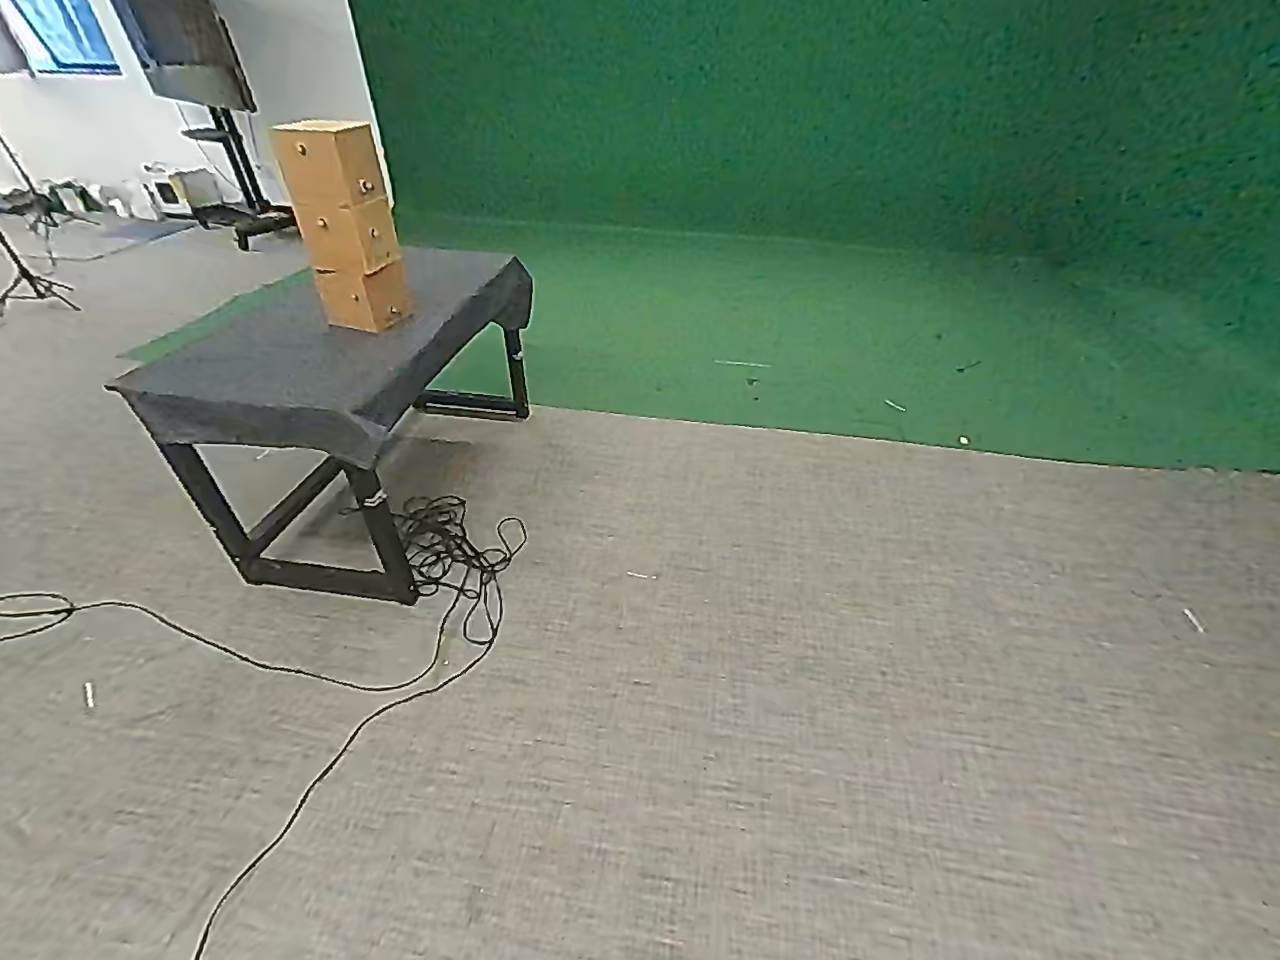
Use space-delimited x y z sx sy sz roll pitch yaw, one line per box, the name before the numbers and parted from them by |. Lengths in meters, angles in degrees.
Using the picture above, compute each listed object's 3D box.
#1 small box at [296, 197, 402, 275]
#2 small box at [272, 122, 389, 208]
small box | -0.785 -0.674 1.482 0.179 0.176 0.168 8 39 8
small box | -0.782 -0.806 1.386 0.179 0.176 0.168 7 40 6
